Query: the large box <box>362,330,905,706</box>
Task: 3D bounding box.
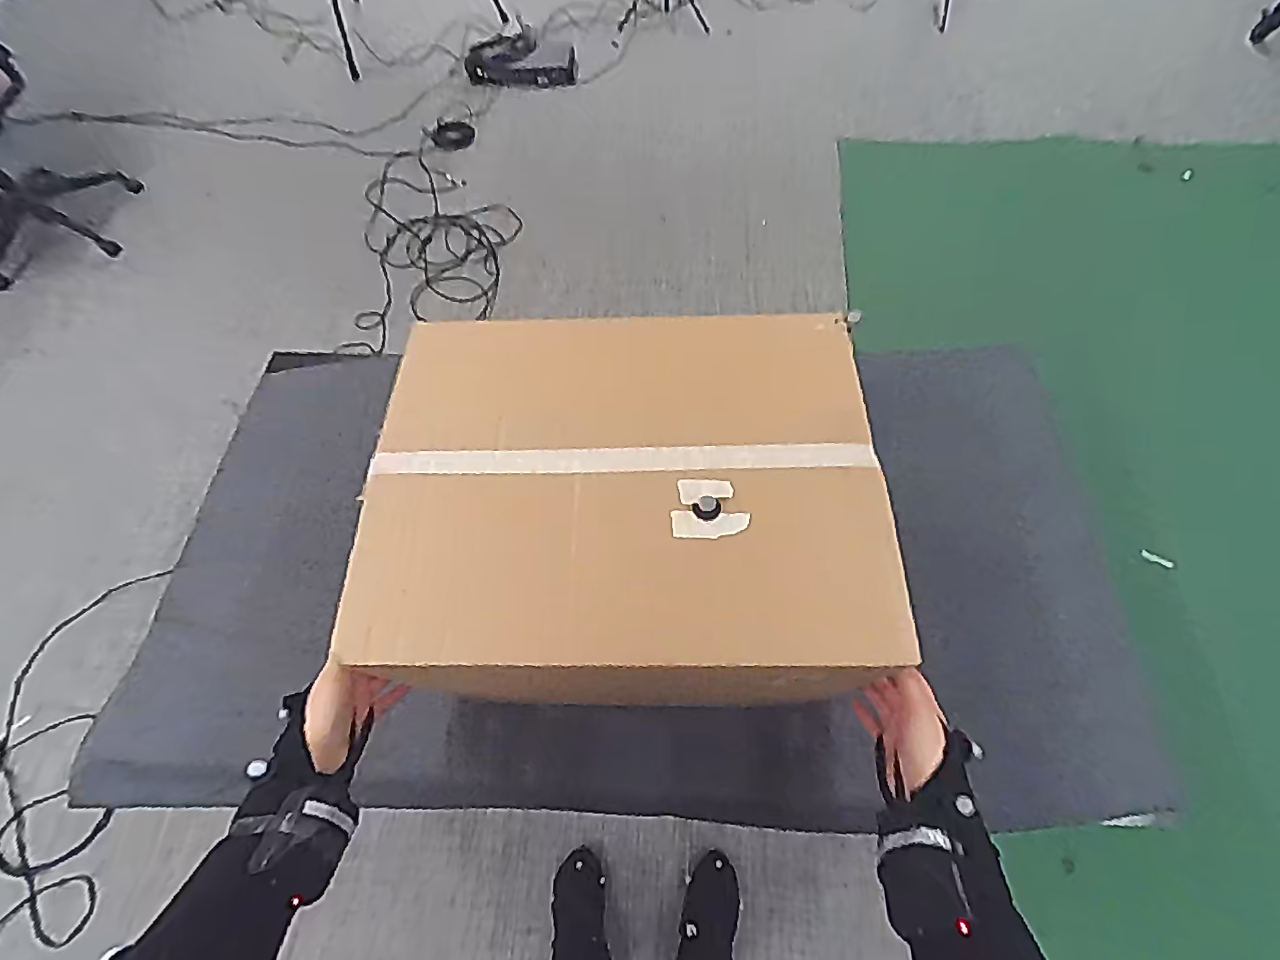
[{"bbox_3d":[-0.005,0.064,0.589,0.408,0.320,0.320,-1,63,2],"label":"large box"}]
